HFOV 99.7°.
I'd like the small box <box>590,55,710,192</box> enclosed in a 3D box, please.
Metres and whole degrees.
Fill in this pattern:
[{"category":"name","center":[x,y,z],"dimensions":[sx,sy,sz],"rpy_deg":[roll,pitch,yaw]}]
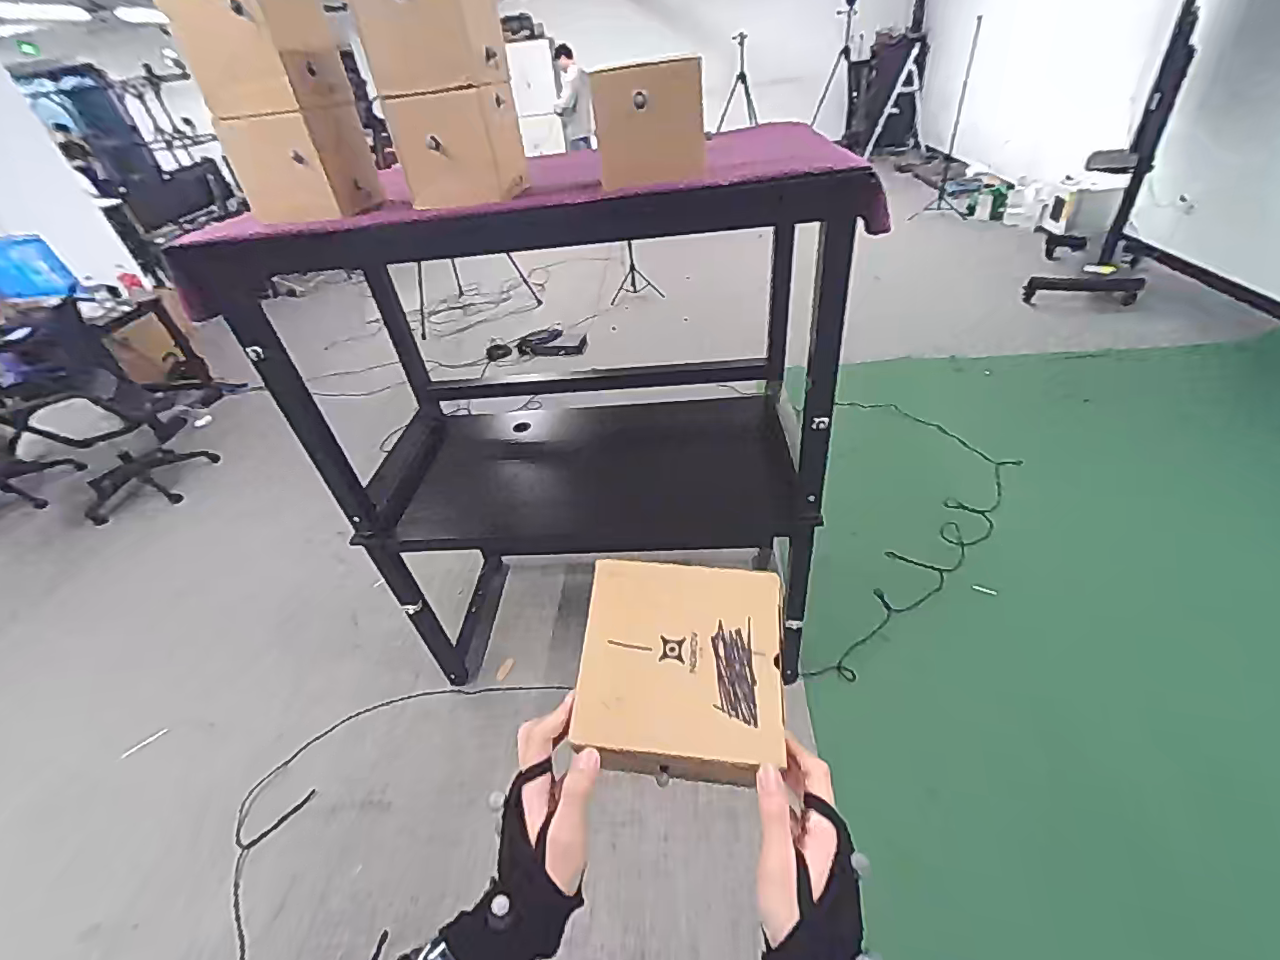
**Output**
[{"category":"small box","center":[0.025,-0.600,0.914],"dimensions":[0.179,0.176,0.168],"rpy_deg":[-3,39,7]}]

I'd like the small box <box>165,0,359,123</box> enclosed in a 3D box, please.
[{"category":"small box","center":[-0.624,-0.717,0.918],"dimensions":[0.179,0.176,0.168],"rpy_deg":[1,38,9]}]

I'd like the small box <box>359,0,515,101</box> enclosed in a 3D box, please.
[{"category":"small box","center":[-0.323,-0.721,0.867],"dimensions":[0.179,0.176,0.168],"rpy_deg":[1,39,10]}]

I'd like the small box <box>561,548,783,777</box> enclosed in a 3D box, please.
[{"category":"small box","center":[0.035,0.184,0.529],"dimensions":[0.179,0.176,0.168],"rpy_deg":[4,56,6]}]

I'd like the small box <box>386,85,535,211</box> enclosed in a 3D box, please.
[{"category":"small box","center":[-0.307,-0.591,0.967],"dimensions":[0.179,0.176,0.168],"rpy_deg":[-1,38,10]}]
